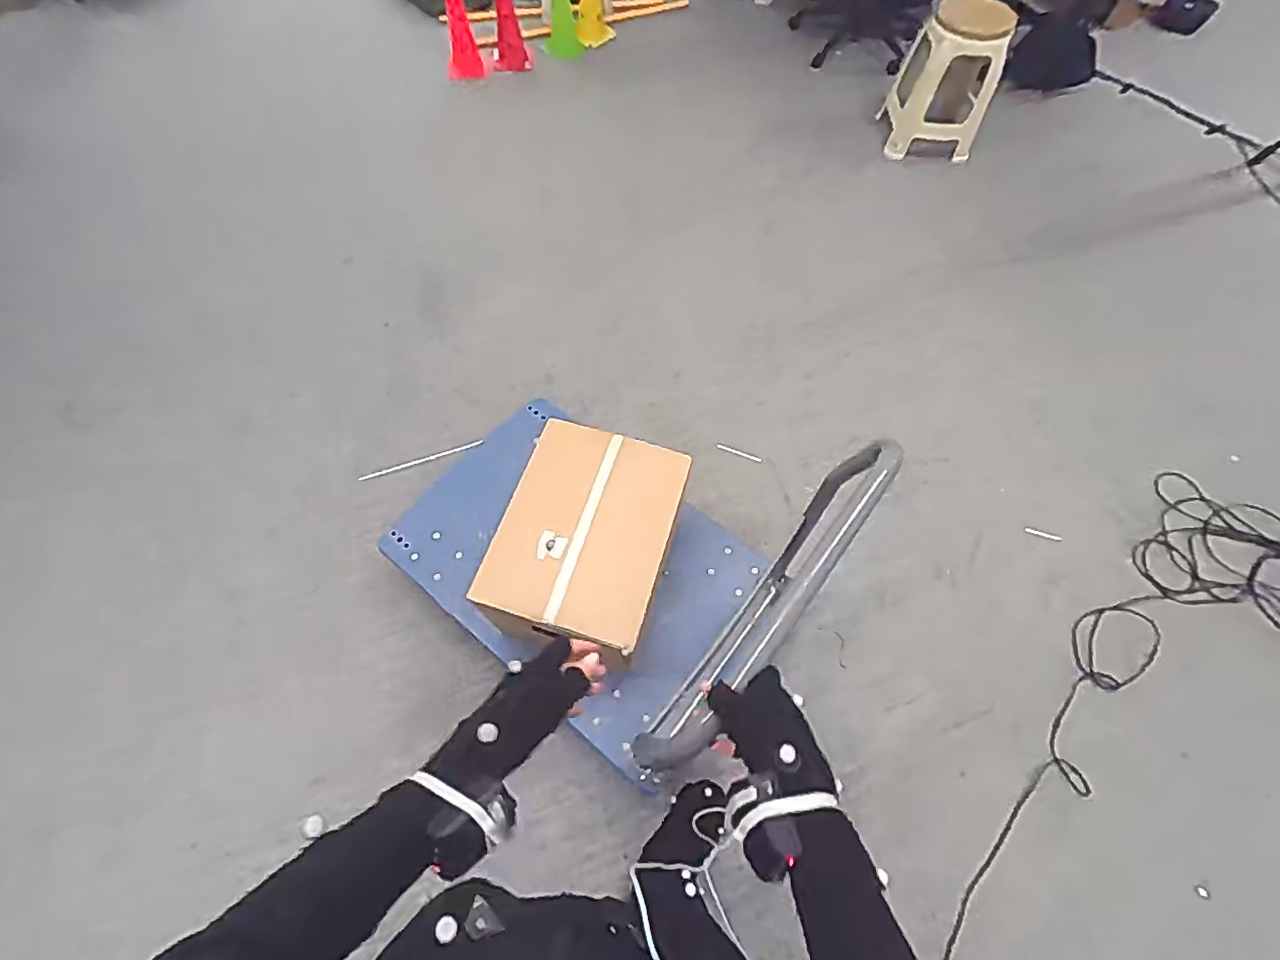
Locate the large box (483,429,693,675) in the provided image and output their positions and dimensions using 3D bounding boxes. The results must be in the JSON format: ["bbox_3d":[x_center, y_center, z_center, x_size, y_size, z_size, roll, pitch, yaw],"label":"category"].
[{"bbox_3d":[-0.091,0.162,1.170,0.320,0.320,0.408,14,64,7],"label":"large box"}]
